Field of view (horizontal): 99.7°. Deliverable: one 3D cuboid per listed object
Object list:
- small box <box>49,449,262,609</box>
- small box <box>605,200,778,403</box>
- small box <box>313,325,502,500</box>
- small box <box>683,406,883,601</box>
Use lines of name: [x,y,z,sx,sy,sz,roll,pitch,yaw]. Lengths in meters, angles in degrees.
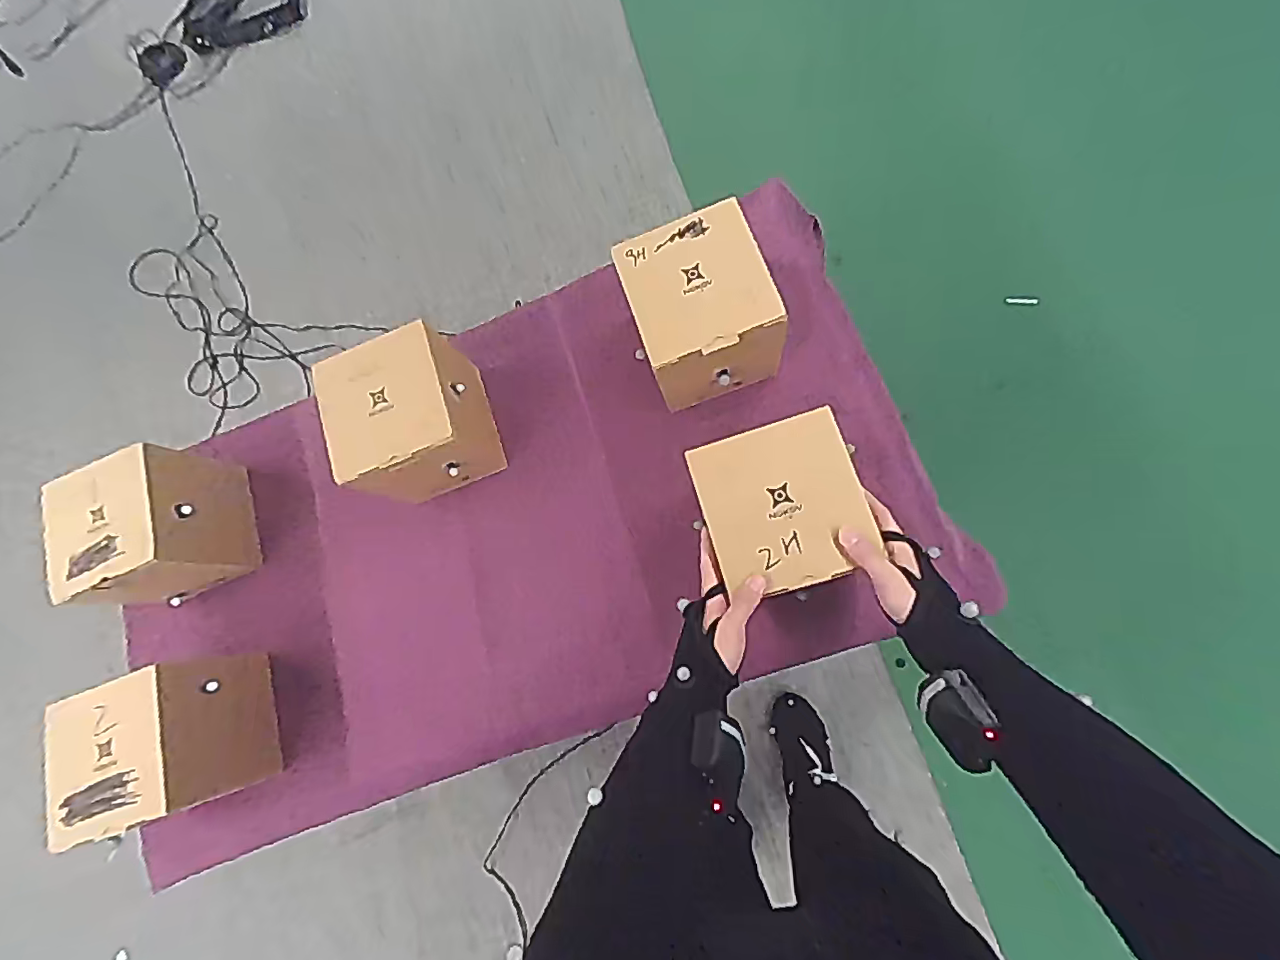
small box: [-0.708,0.078,0.806,0.168,0.176,0.179,-23,76,5]
small box: [0.073,-0.218,0.718,0.168,0.176,0.179,-20,76,6]
small box: [-0.317,-0.080,0.766,0.168,0.176,0.179,-21,75,5]
small box: [0.160,0.040,0.645,0.168,0.176,0.179,-18,76,8]
